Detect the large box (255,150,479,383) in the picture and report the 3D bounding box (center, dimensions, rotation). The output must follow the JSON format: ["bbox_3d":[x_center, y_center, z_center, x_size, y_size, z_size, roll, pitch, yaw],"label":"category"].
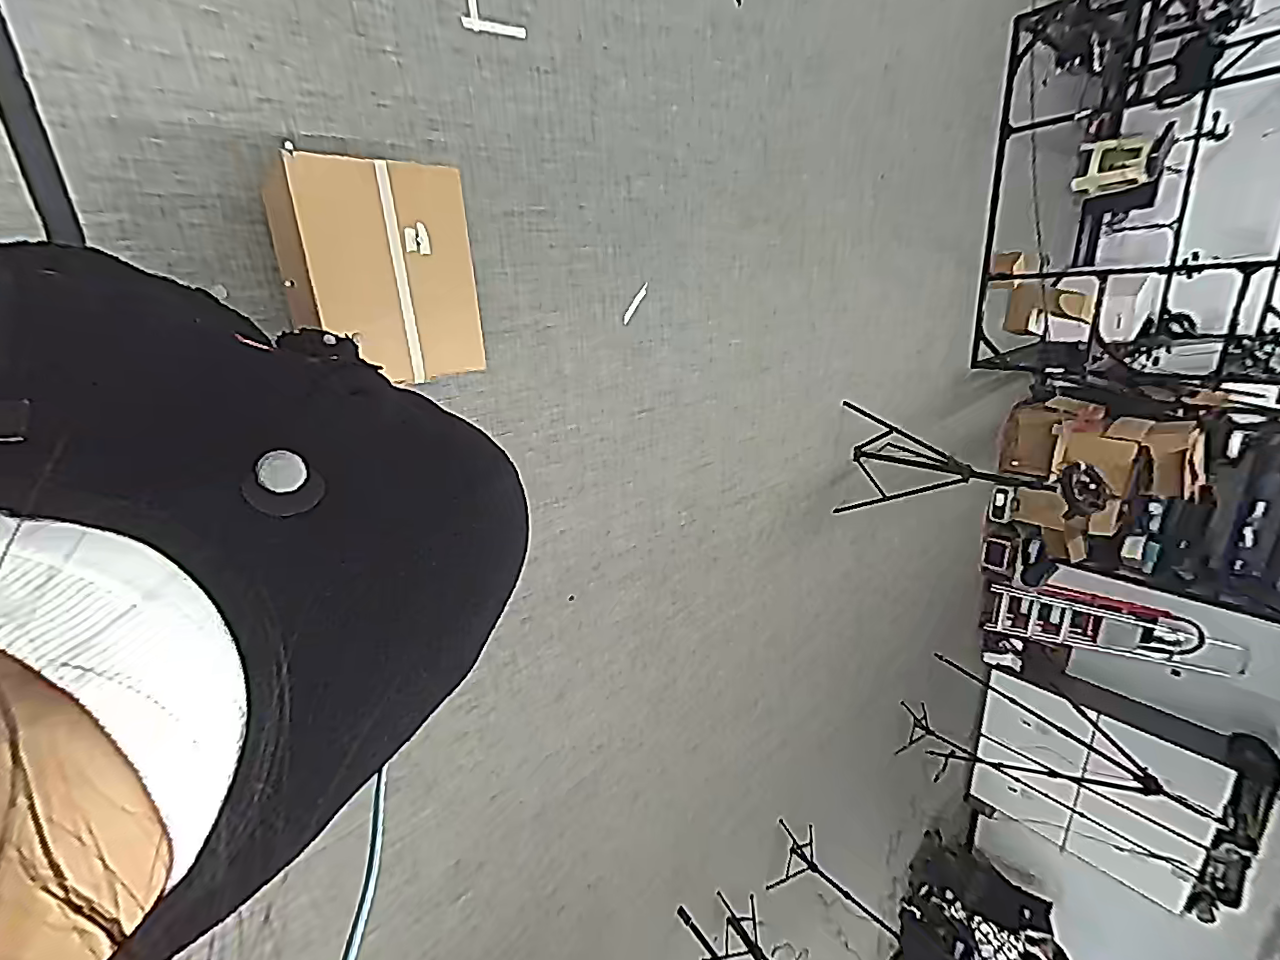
[{"bbox_3d":[-0.590,-0.439,1.180,0.320,0.320,0.408,-19,113,-38],"label":"large box"}]
